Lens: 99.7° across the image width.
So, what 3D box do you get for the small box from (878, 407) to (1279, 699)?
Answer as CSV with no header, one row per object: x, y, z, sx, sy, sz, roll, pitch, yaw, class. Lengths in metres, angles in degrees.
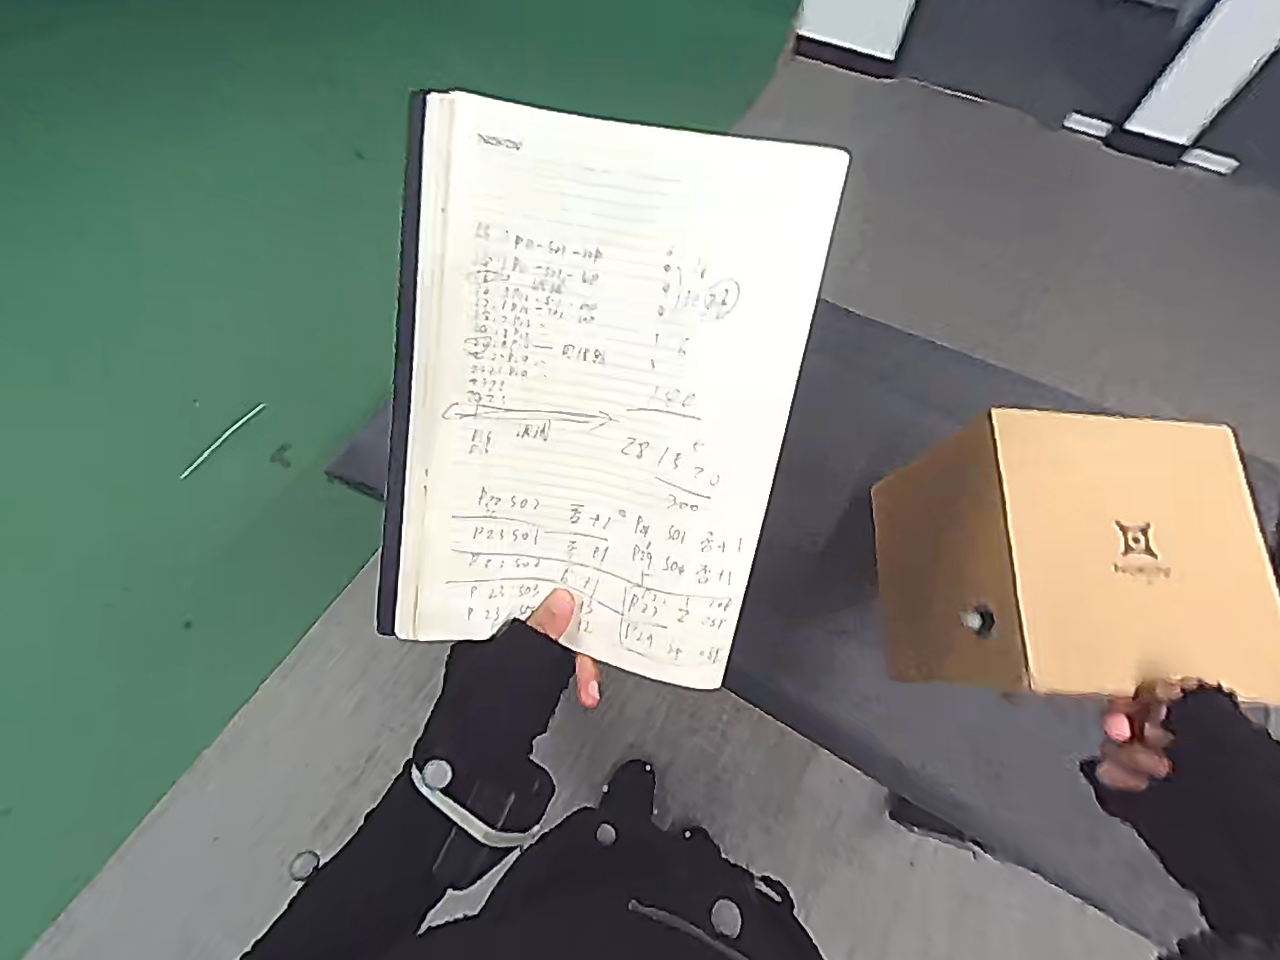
0.299,0.063,0.407,0.168,0.176,0.179,3,72,-3,small box

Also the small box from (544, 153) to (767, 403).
0.019,-0.220,0.614,0.168,0.176,0.179,31,67,14,small box

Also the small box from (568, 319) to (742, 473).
0.020,-0.144,0.759,0.168,0.176,0.179,29,67,14,small box
